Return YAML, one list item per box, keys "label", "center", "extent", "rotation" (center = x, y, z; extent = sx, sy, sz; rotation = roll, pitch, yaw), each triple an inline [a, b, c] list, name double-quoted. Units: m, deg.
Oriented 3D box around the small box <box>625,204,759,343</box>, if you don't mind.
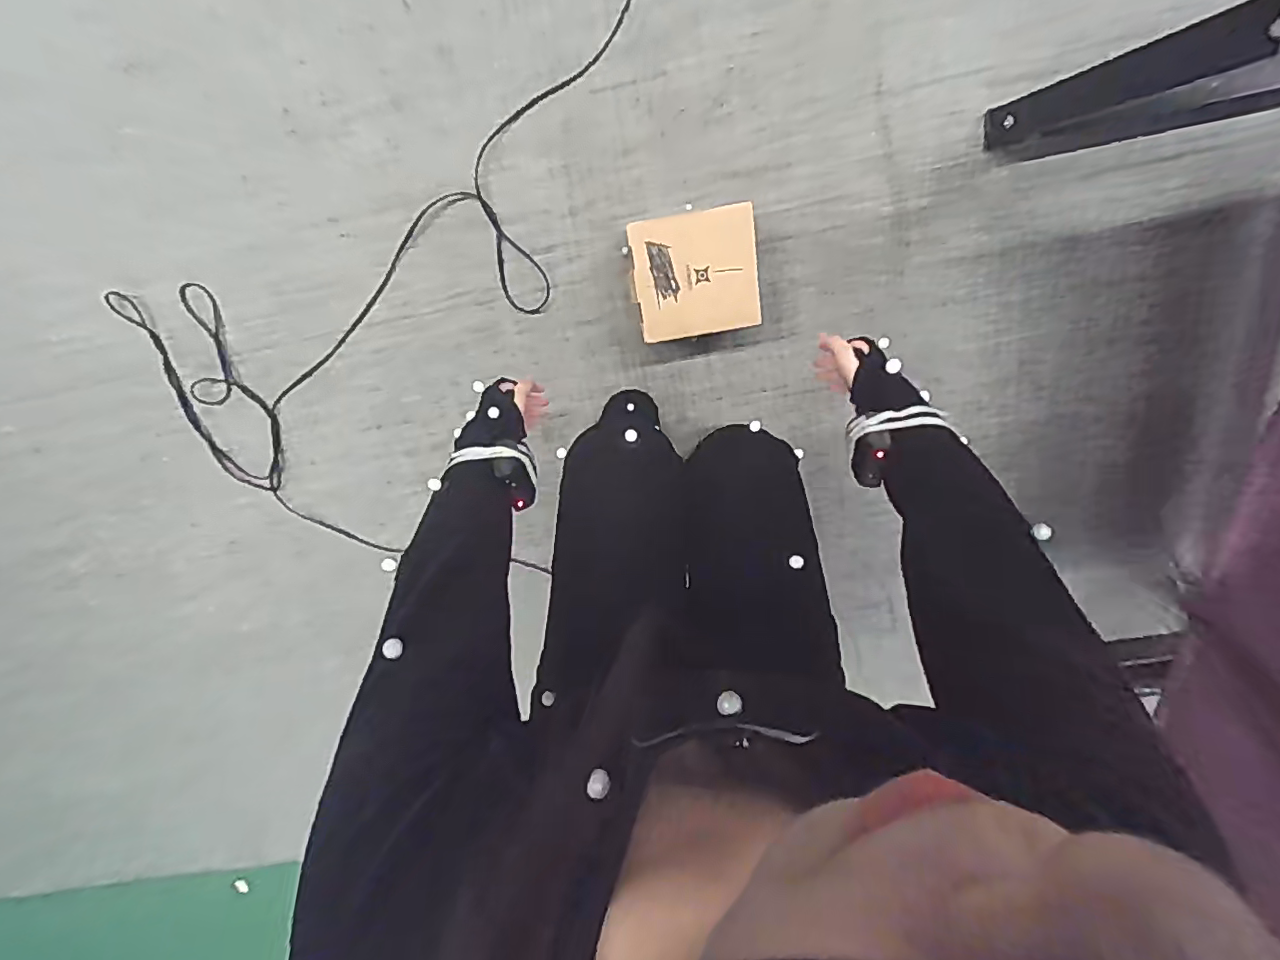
- label: "small box"
  center: [0.076, -0.317, 0.840]
  extent: [0.179, 0.176, 0.168]
  rotation: [-9, 112, 2]
